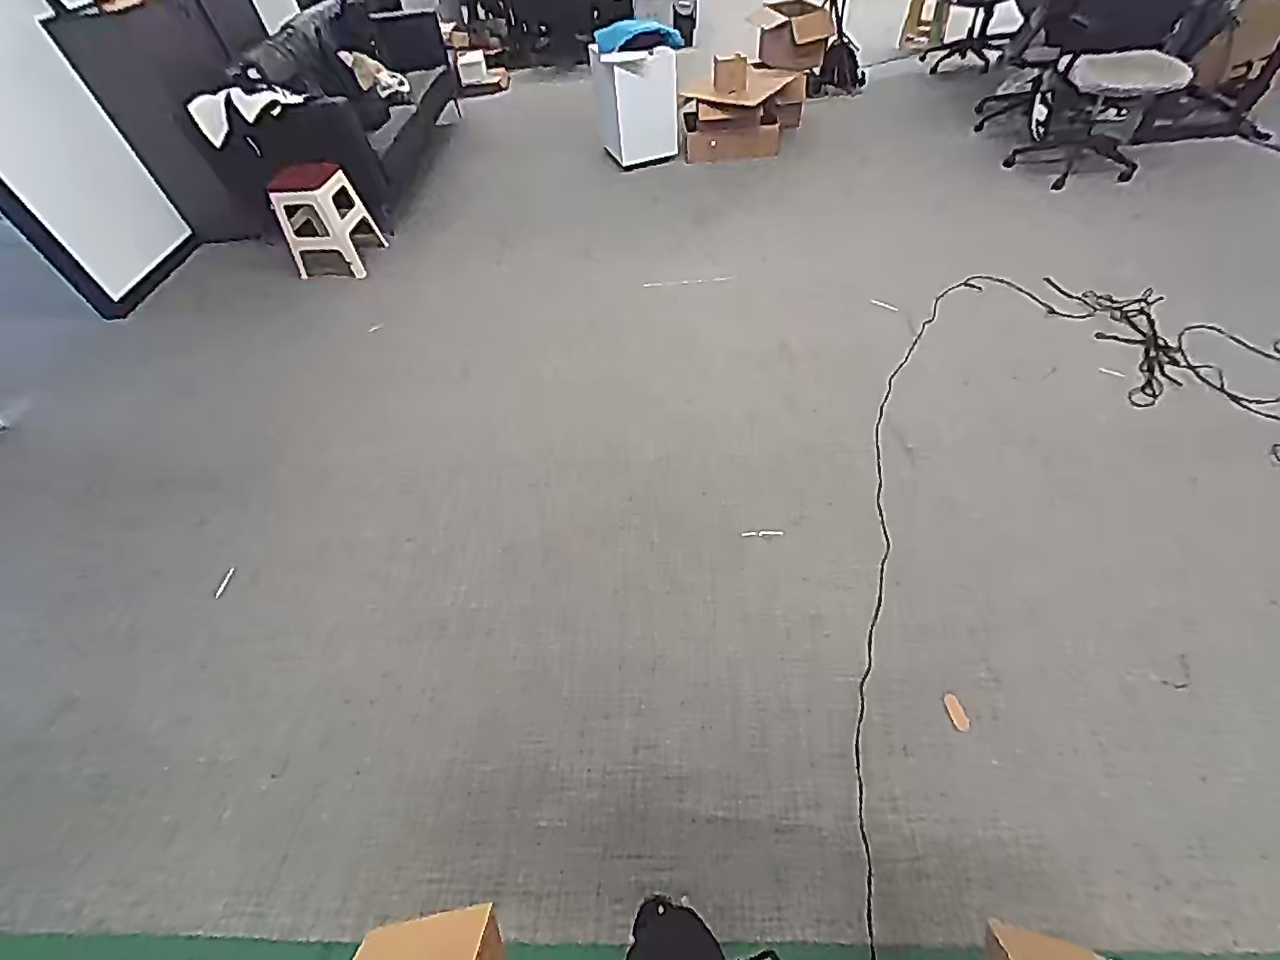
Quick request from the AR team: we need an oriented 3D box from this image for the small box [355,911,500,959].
[{"bbox_3d":[-0.256,0.660,0.622,0.168,0.179,0.176,-12,91,-1],"label":"small box"}]
